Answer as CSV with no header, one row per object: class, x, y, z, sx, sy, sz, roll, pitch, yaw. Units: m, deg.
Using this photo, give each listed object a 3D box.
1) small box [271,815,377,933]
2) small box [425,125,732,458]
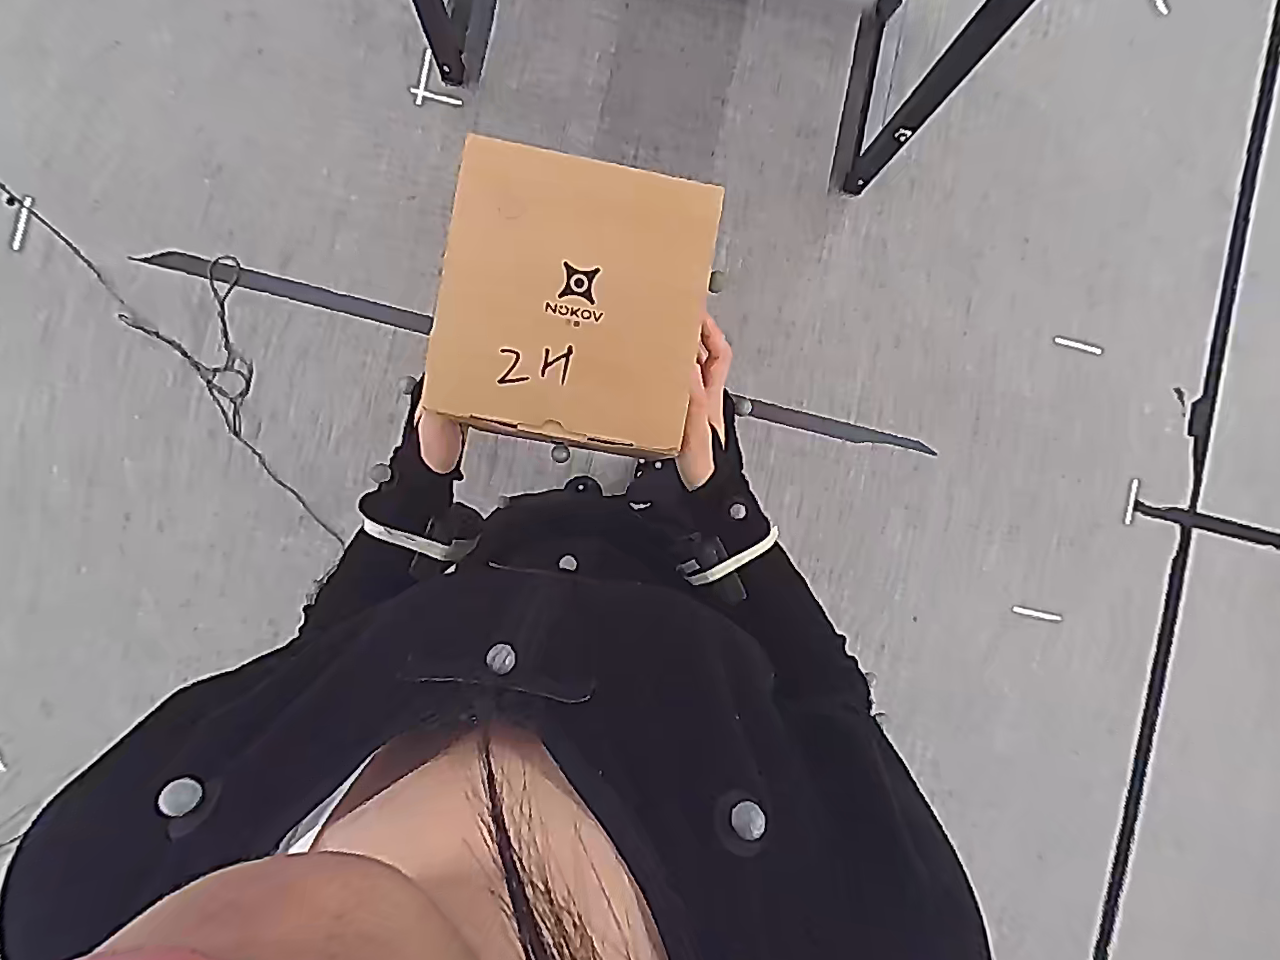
small box,-0.768,0.961,1.333,0.168,0.176,0.179,6,90,-5
small box,-0.042,-0.117,0.412,0.168,0.176,0.179,10,90,-4
